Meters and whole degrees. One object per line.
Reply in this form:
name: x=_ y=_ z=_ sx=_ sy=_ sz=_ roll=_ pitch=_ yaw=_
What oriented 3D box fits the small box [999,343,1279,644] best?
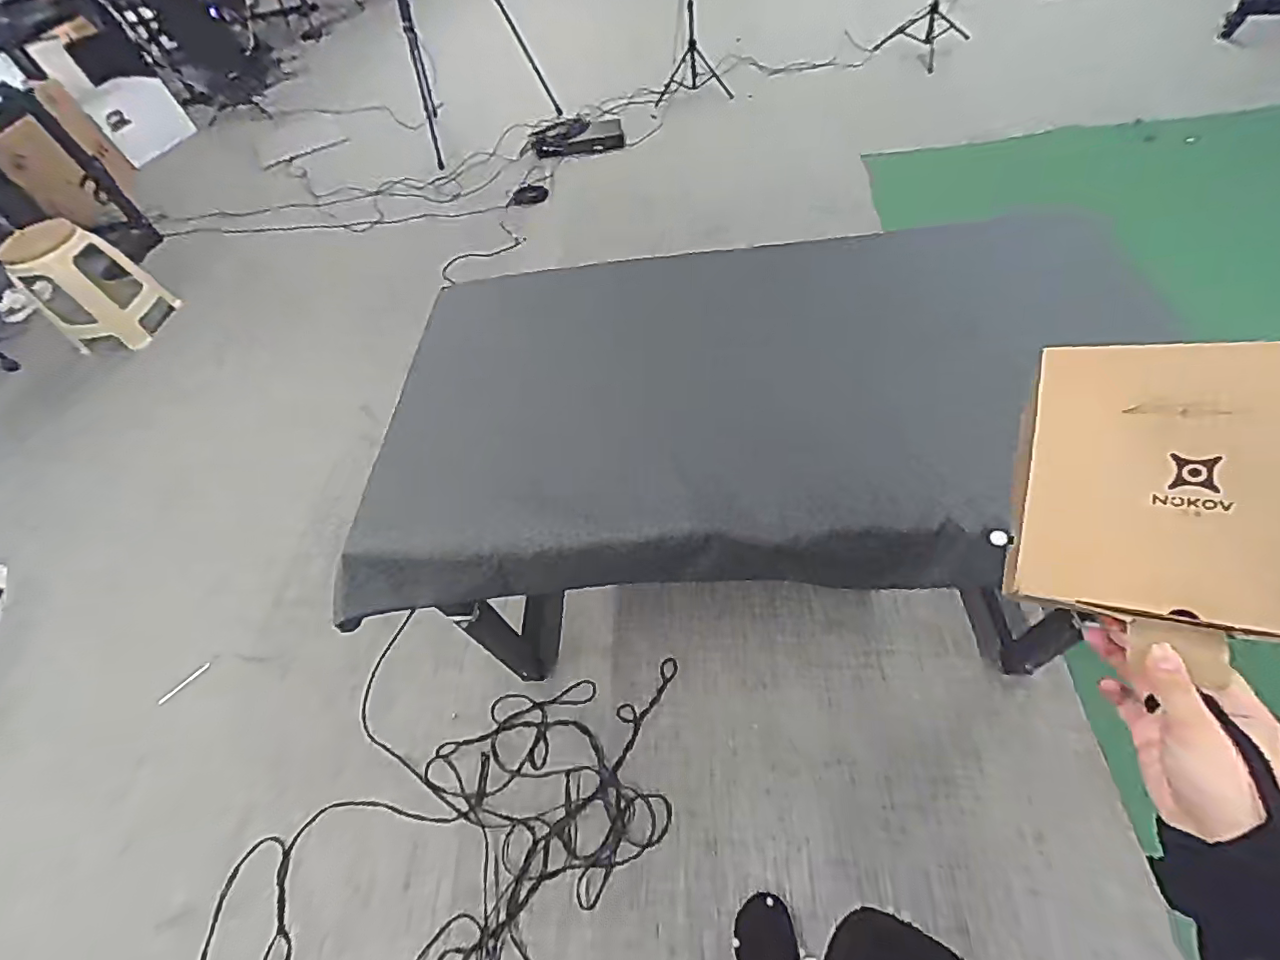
small box: x=0.372 y=0.016 z=0.397 sx=0.168 sy=0.176 sz=0.179 roll=6 pitch=80 yaw=32
